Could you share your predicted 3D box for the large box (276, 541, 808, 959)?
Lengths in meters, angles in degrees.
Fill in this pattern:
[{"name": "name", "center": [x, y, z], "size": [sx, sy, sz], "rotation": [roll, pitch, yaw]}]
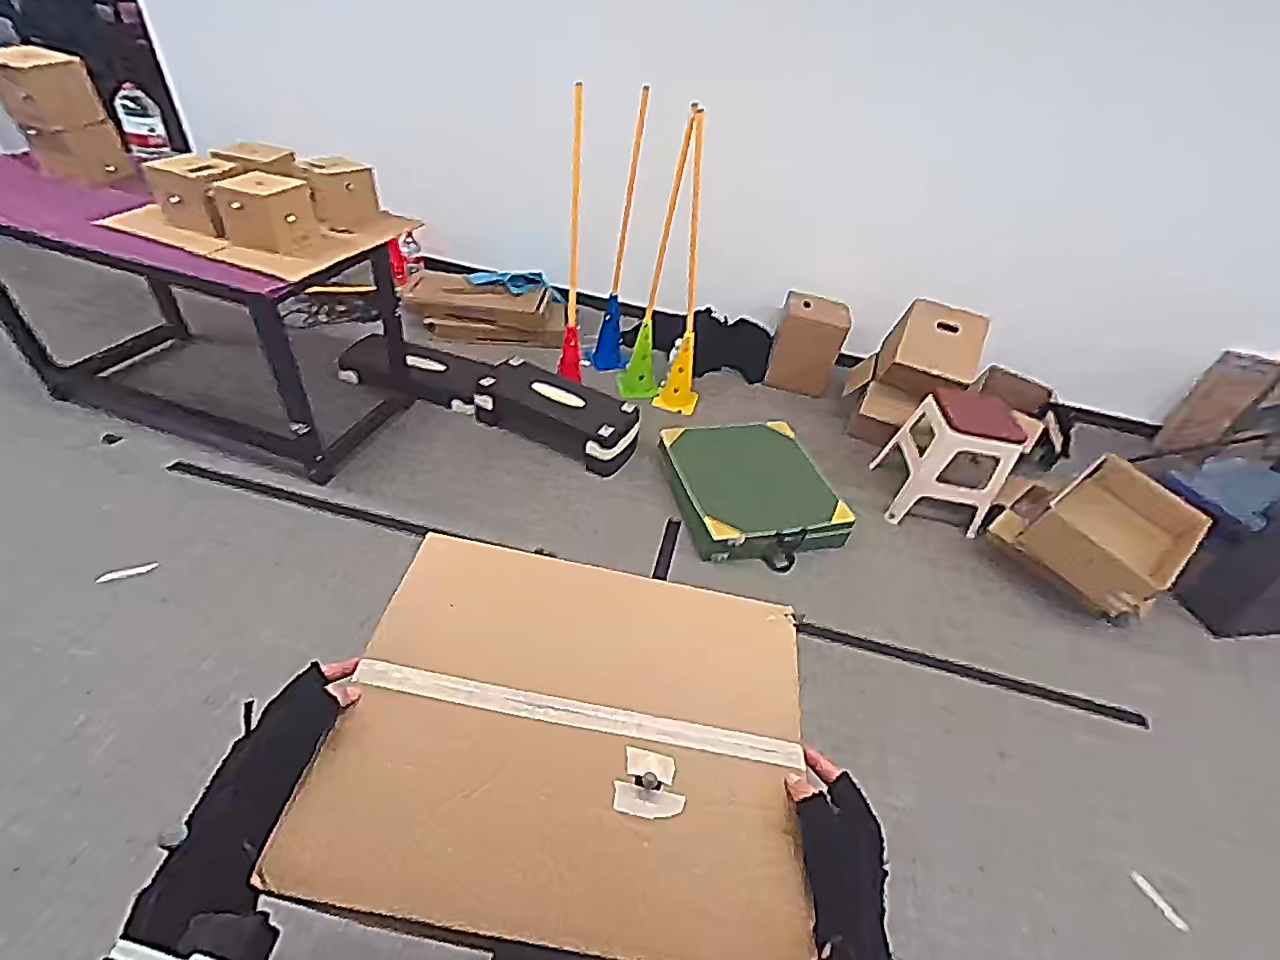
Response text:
[{"name": "large box", "center": [-0.076, 0.314, 0.600], "size": [0.408, 0.320, 0.320], "rotation": [13, 47, -1]}]
